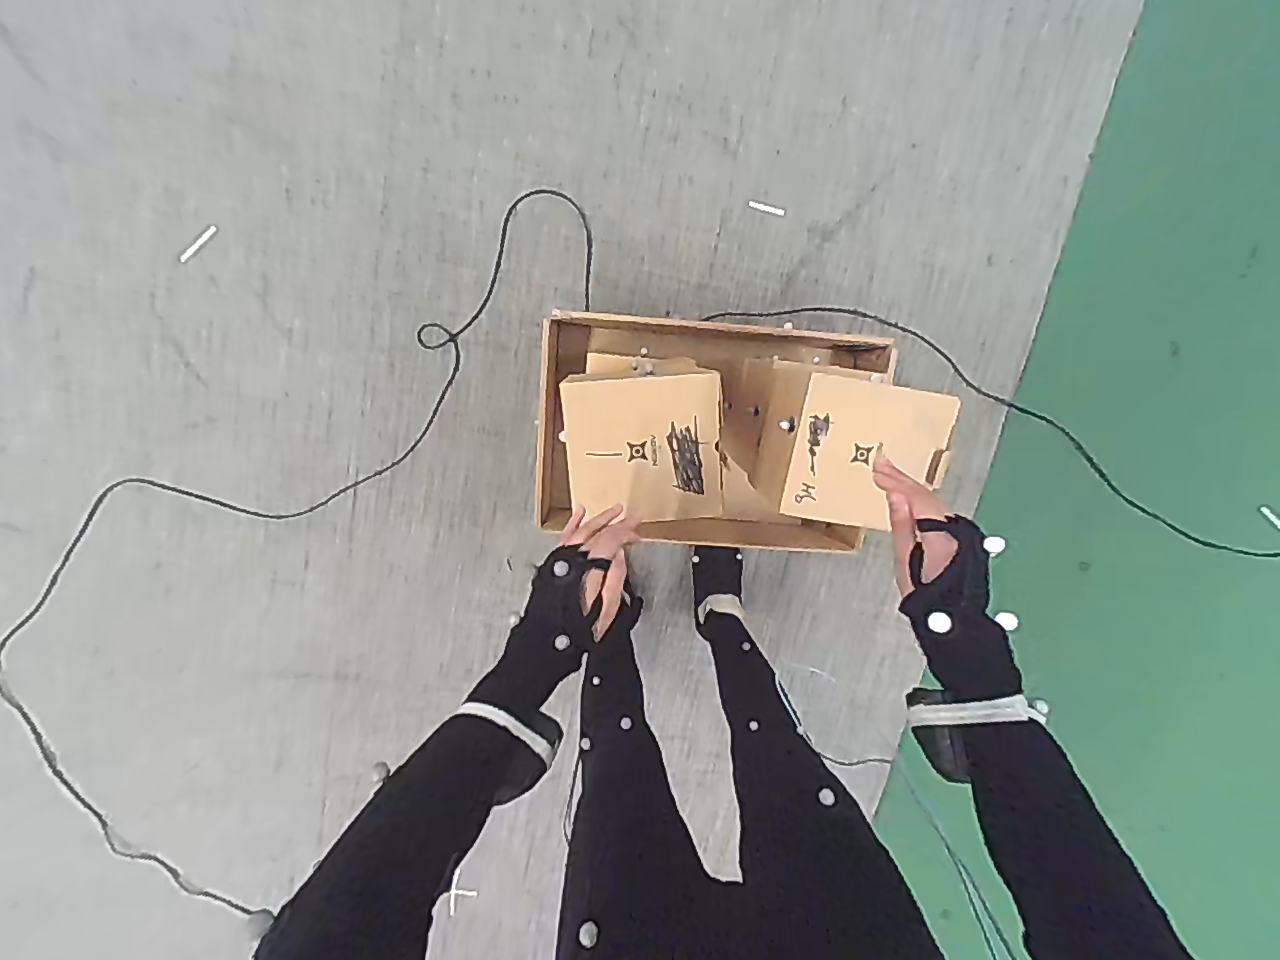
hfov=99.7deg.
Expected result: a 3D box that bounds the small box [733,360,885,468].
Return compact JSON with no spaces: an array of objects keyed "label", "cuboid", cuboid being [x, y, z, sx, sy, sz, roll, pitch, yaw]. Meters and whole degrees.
[{"label":"small box","cuboid":[0.250,-0.090,0.846,0.168,0.176,0.179,7,103,-2]}]

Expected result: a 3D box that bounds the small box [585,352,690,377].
[{"label":"small box","cuboid":[-0.014,-0.142,0.993,0.179,0.176,0.168,4,104,-5]}]

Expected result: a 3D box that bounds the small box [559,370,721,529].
[{"label":"small box","cuboid":[-0.002,-0.047,0.680,0.179,0.176,0.168,-4,104,-2]}]

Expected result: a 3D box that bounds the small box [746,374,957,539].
[{"label":"small box","cuboid":[0.251,-0.040,0.687,0.179,0.176,0.168,9,102,-4]}]
